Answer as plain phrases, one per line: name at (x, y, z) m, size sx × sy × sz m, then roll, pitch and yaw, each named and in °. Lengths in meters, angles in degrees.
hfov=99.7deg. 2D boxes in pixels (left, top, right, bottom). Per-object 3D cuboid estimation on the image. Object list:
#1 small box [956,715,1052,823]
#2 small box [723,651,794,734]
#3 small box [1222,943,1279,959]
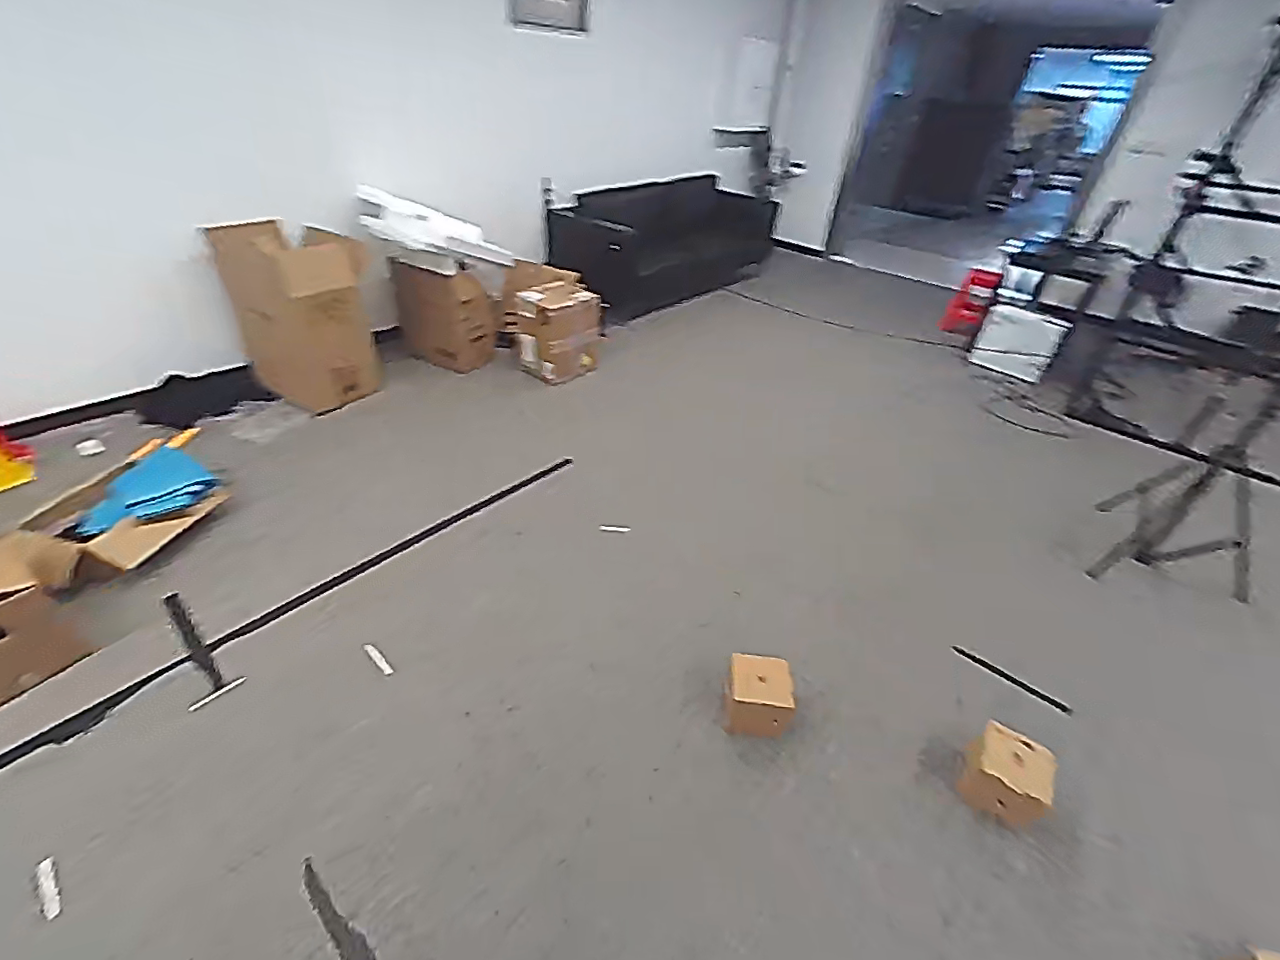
small box at (1.007, 0.805, 1.503) m, size 0.168 × 0.176 × 0.179 m, roll 24°, pitch 42°, yaw 25°
small box at (0.355, 0.651, 1.650) m, size 0.179 × 0.176 × 0.168 m, roll 5°, pitch 35°, yaw 2°
small box at (1.375, 1.108, 1.128) m, size 0.179 × 0.176 × 0.168 m, roll 6°, pitch 36°, yaw 5°
